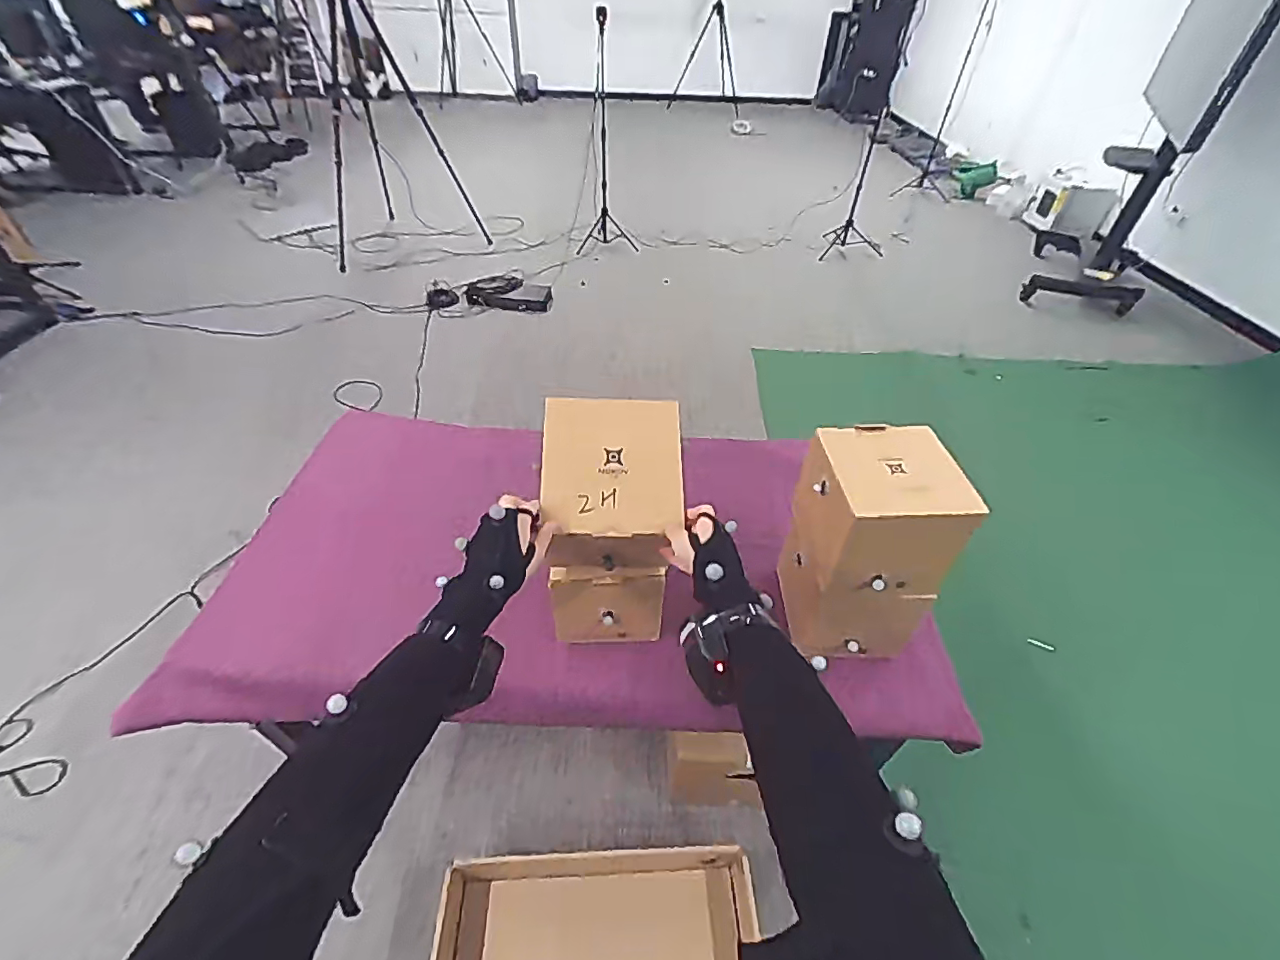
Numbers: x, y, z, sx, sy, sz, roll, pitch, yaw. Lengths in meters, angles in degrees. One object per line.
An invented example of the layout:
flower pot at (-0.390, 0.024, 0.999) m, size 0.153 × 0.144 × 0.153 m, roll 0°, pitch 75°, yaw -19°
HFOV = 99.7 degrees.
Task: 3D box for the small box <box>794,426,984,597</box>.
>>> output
small box at (0.326, 0.043, 0.756) m, size 0.168 × 0.176 × 0.179 m, roll -1°, pitch 42°, yaw -1°

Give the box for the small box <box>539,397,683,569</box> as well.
small box at (-0.038, 0.011, 0.710) m, size 0.168 × 0.176 × 0.179 m, roll 1°, pitch 68°, yaw -4°

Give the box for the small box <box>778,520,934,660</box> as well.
small box at (0.328, 0.164, 0.865) m, size 0.168 × 0.176 × 0.179 m, roll 1°, pitch 43°, yaw 0°

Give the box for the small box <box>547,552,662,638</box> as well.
small box at (-0.054, 0.141, 0.873) m, size 0.168 × 0.176 × 0.179 m, roll -1°, pitch 43°, yaw -4°
